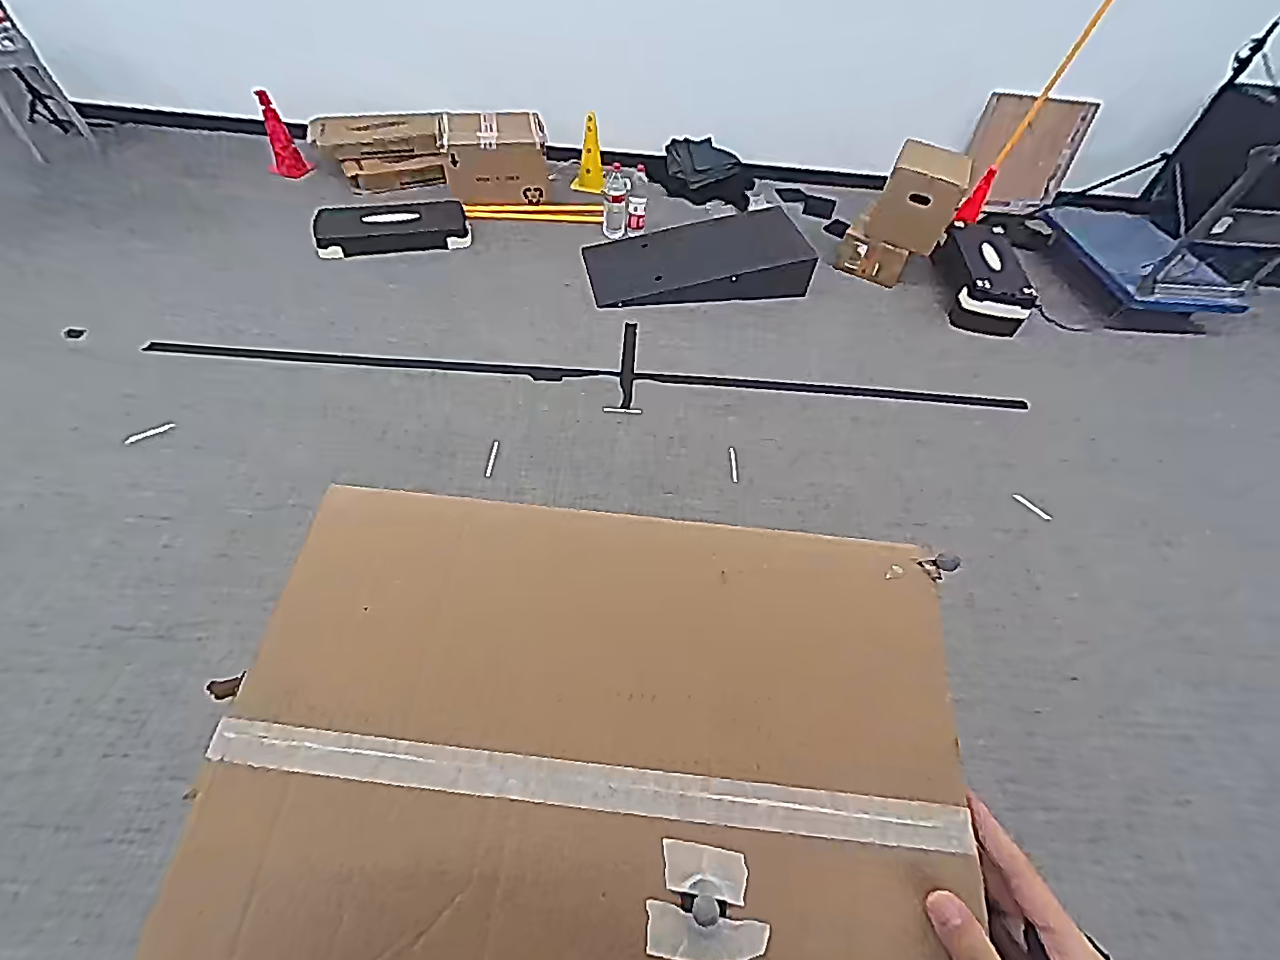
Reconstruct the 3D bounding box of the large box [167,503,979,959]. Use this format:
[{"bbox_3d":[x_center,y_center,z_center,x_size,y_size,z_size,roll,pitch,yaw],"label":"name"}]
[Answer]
[{"bbox_3d":[-0.027,0.235,0.432,0.408,0.320,0.320,6,64,2],"label":"large box"}]
